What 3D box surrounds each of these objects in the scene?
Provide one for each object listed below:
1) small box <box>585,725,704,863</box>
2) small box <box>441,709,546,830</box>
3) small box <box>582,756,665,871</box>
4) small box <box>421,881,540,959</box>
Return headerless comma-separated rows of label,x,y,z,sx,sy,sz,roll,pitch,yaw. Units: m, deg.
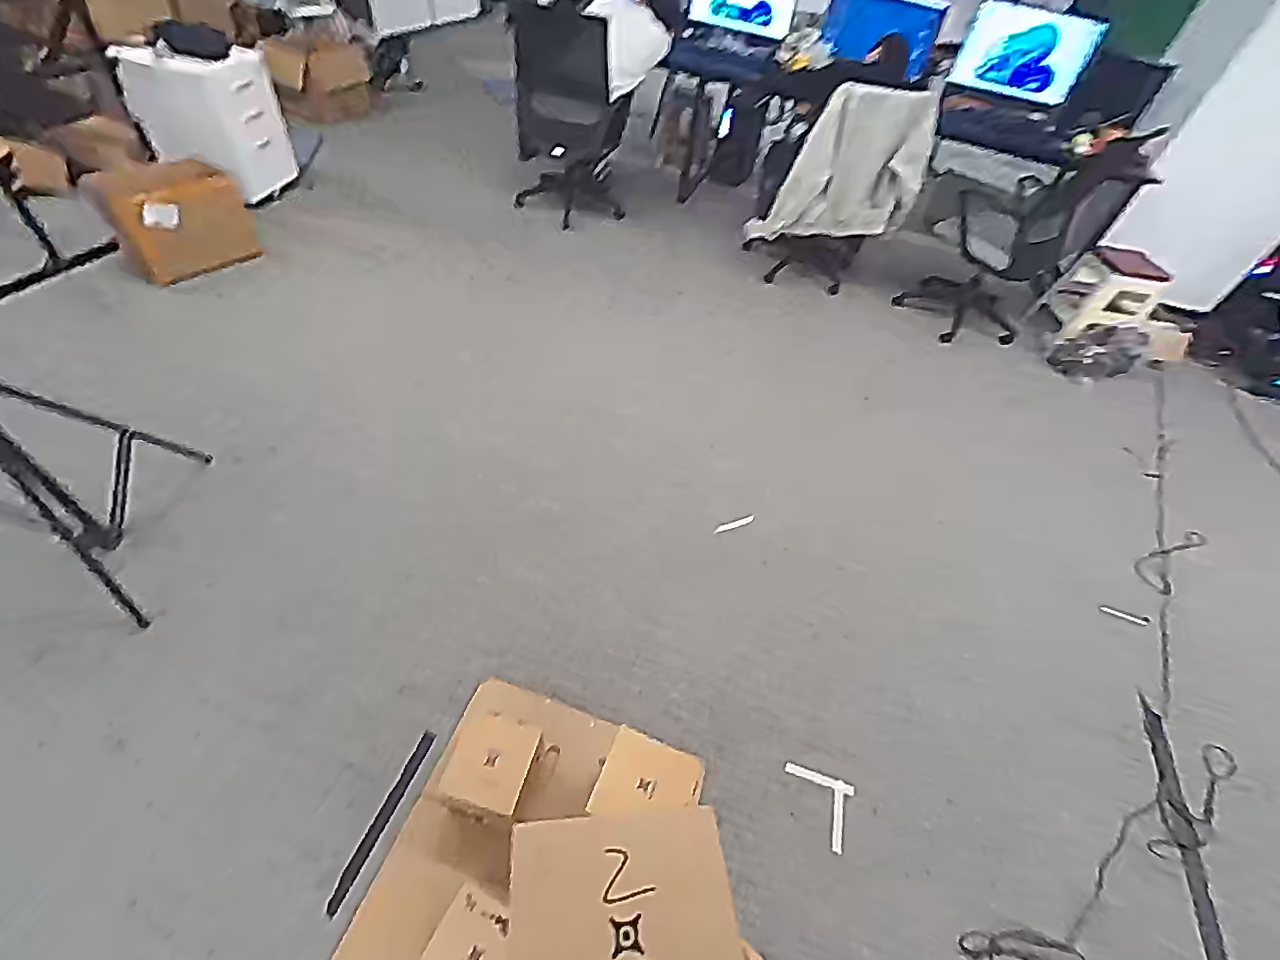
small box,0.002,0.616,1.055,0.179,0.176,0.168,22,49,8
small box,-0.316,0.644,1.199,0.168,0.176,0.179,14,48,5
small box,-0.019,0.723,1.176,0.179,0.176,0.168,19,50,6
small box,-0.293,0.881,0.991,0.168,0.176,0.179,25,52,12
